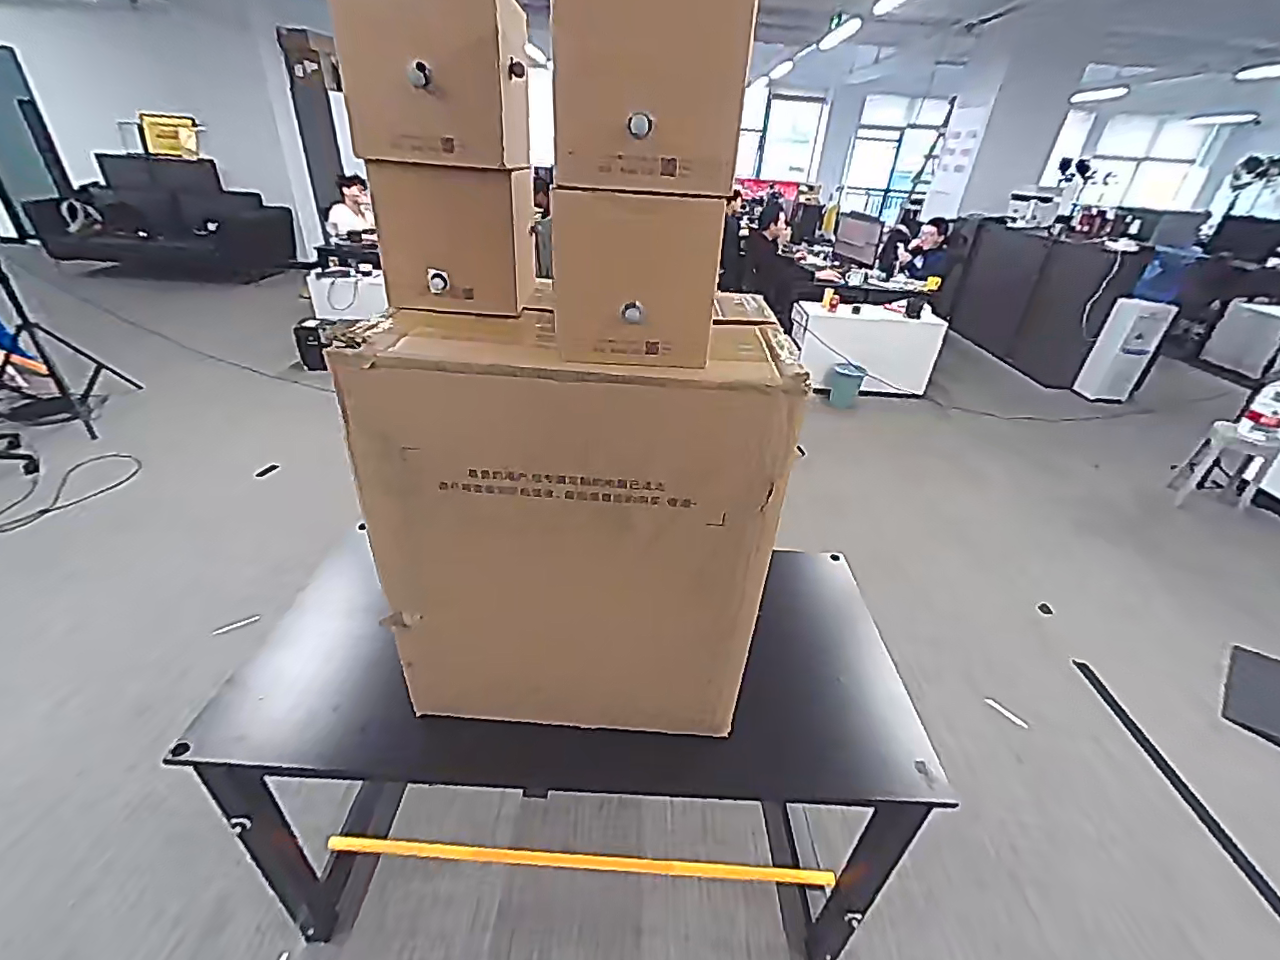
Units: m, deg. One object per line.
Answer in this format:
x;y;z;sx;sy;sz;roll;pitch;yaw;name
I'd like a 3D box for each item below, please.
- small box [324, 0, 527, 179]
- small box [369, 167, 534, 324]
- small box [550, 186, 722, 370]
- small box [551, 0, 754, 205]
-0.228;-0.452;0.629;0.168;0.176;0.179;2;31;-3;small box
-0.235;-0.320;0.727;0.168;0.176;0.179;1;32;-4;small box
-0.007;-0.236;0.618;0.168;0.176;0.179;2;32;-1;small box
0.006;-0.373;0.527;0.168;0.176;0.179;2;32;-1;small box
